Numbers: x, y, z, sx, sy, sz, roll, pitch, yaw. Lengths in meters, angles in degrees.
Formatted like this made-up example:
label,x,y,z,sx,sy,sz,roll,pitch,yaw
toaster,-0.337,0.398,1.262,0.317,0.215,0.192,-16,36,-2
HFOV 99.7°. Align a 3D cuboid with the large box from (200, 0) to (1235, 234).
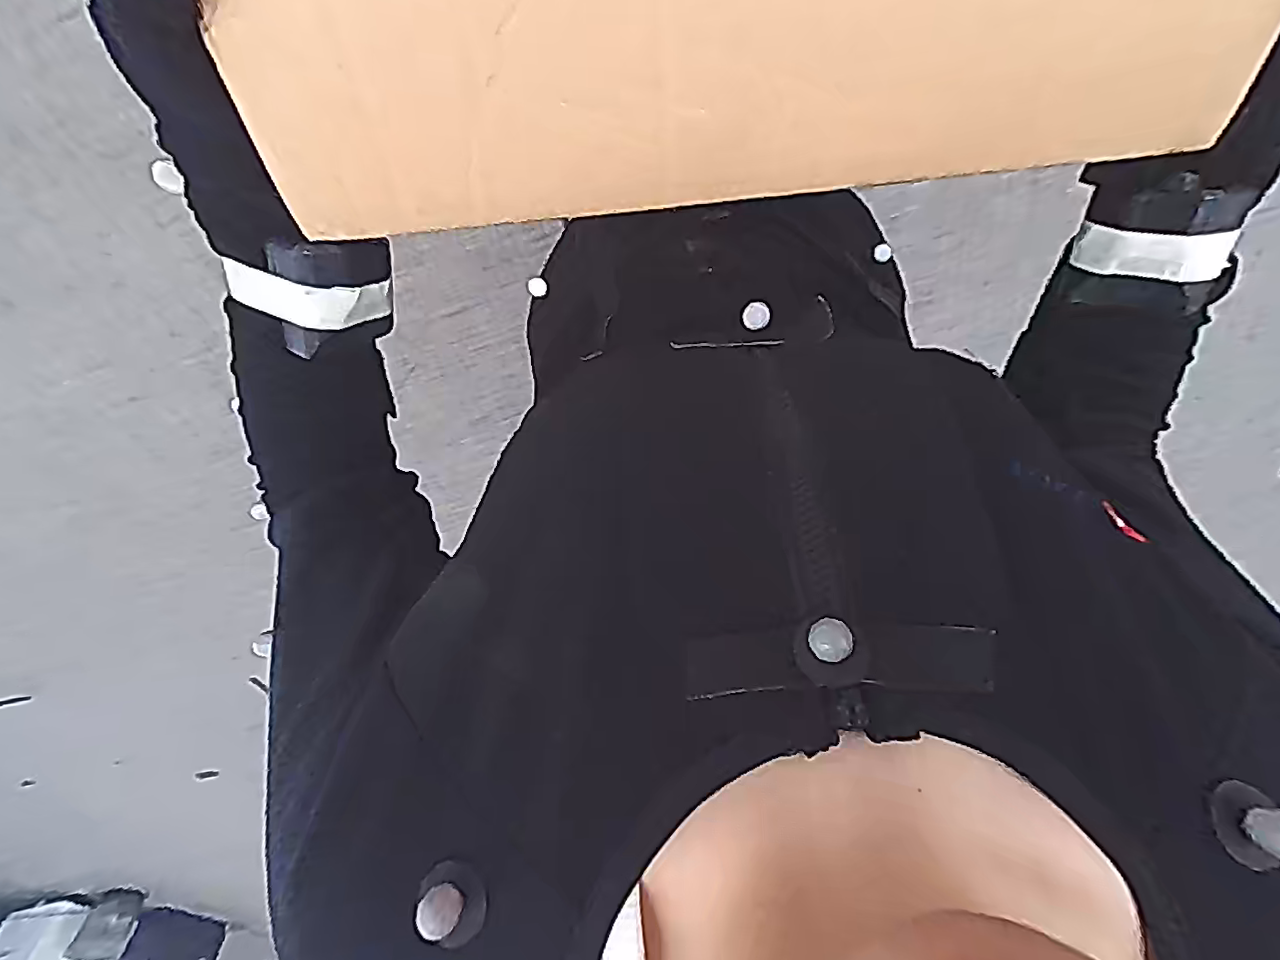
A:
label,x,y,z,sx,sy,sz,roll,pitch,yaw
large box,0.024,-0.350,0.249,0.408,0.320,0.320,-5,134,1
